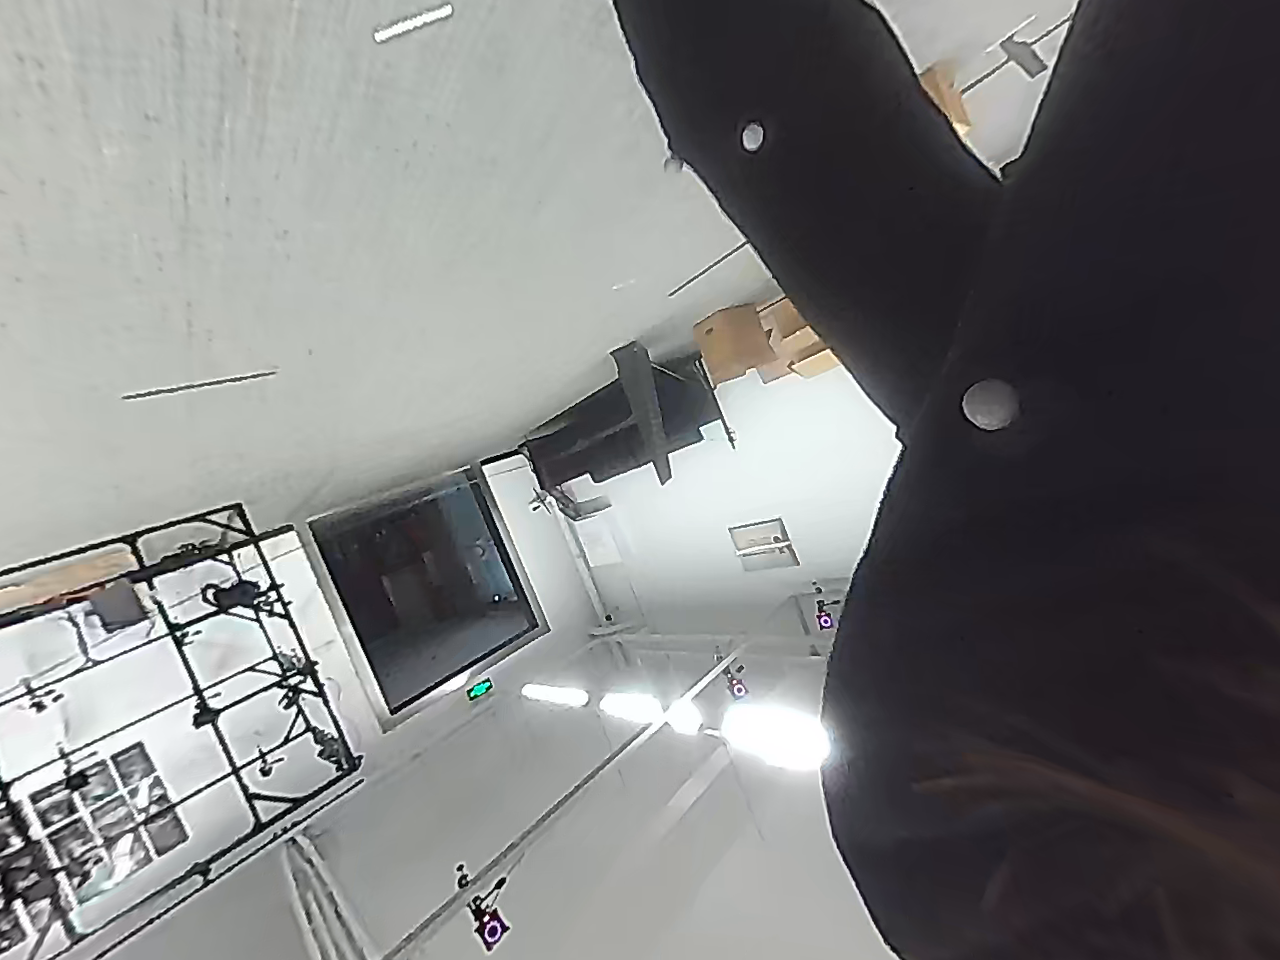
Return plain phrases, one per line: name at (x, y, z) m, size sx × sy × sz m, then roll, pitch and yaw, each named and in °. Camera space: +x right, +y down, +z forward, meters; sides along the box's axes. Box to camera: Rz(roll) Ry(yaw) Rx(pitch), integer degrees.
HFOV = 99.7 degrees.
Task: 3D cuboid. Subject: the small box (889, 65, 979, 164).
small box at (0.872, -1.084, 1.617) m, size 0.168 × 0.176 × 0.179 m, roll -24°, pitch -177°, yaw -39°
